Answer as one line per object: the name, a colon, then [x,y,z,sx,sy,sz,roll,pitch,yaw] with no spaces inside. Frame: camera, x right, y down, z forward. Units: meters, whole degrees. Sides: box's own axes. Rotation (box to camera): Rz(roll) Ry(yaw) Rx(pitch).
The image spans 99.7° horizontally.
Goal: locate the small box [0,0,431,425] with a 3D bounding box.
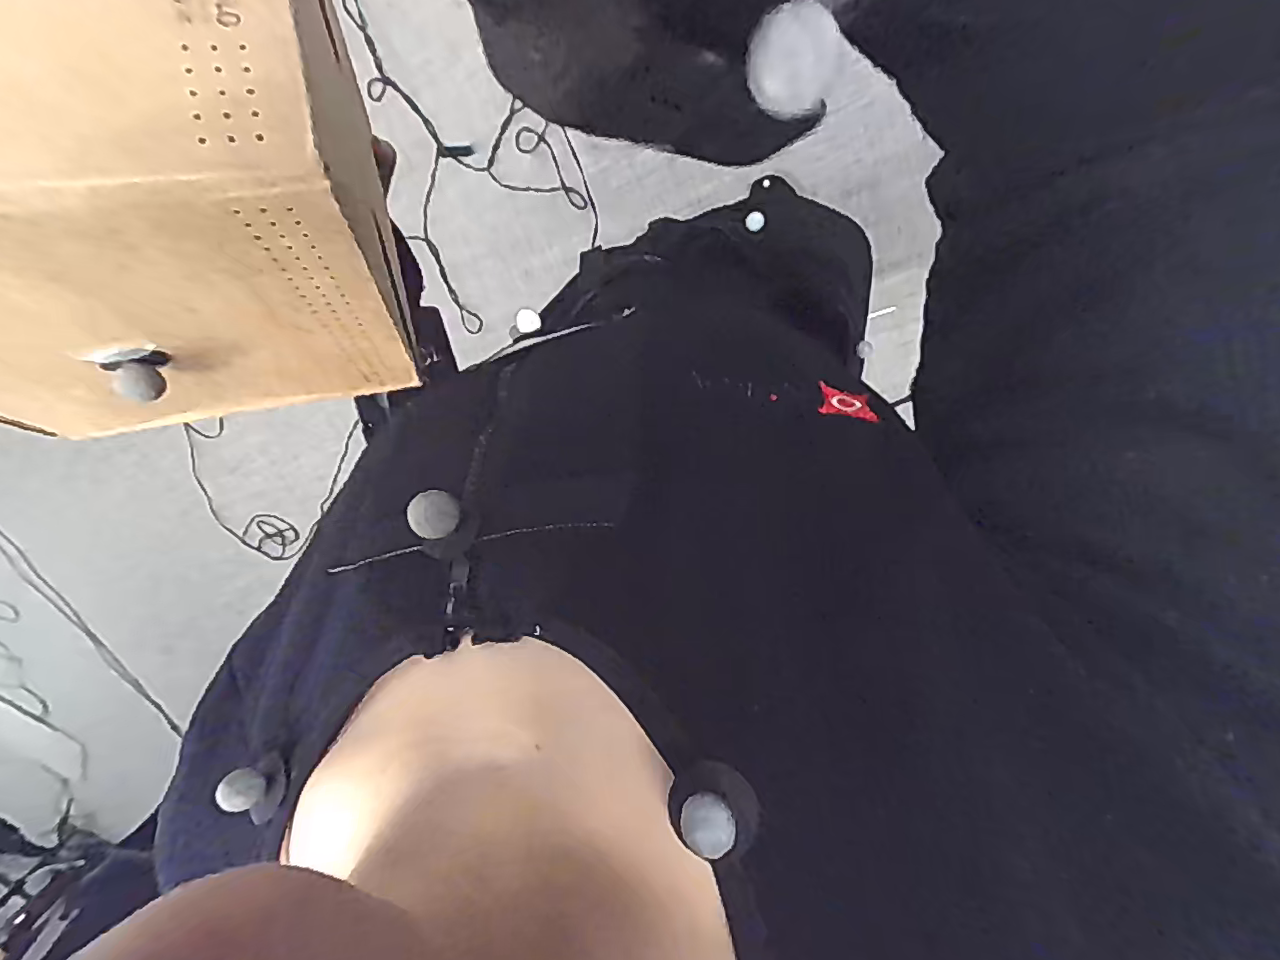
small box: [-0.193,-0.133,0.219,0.176,0.179,0.168,-13,84,-15]
